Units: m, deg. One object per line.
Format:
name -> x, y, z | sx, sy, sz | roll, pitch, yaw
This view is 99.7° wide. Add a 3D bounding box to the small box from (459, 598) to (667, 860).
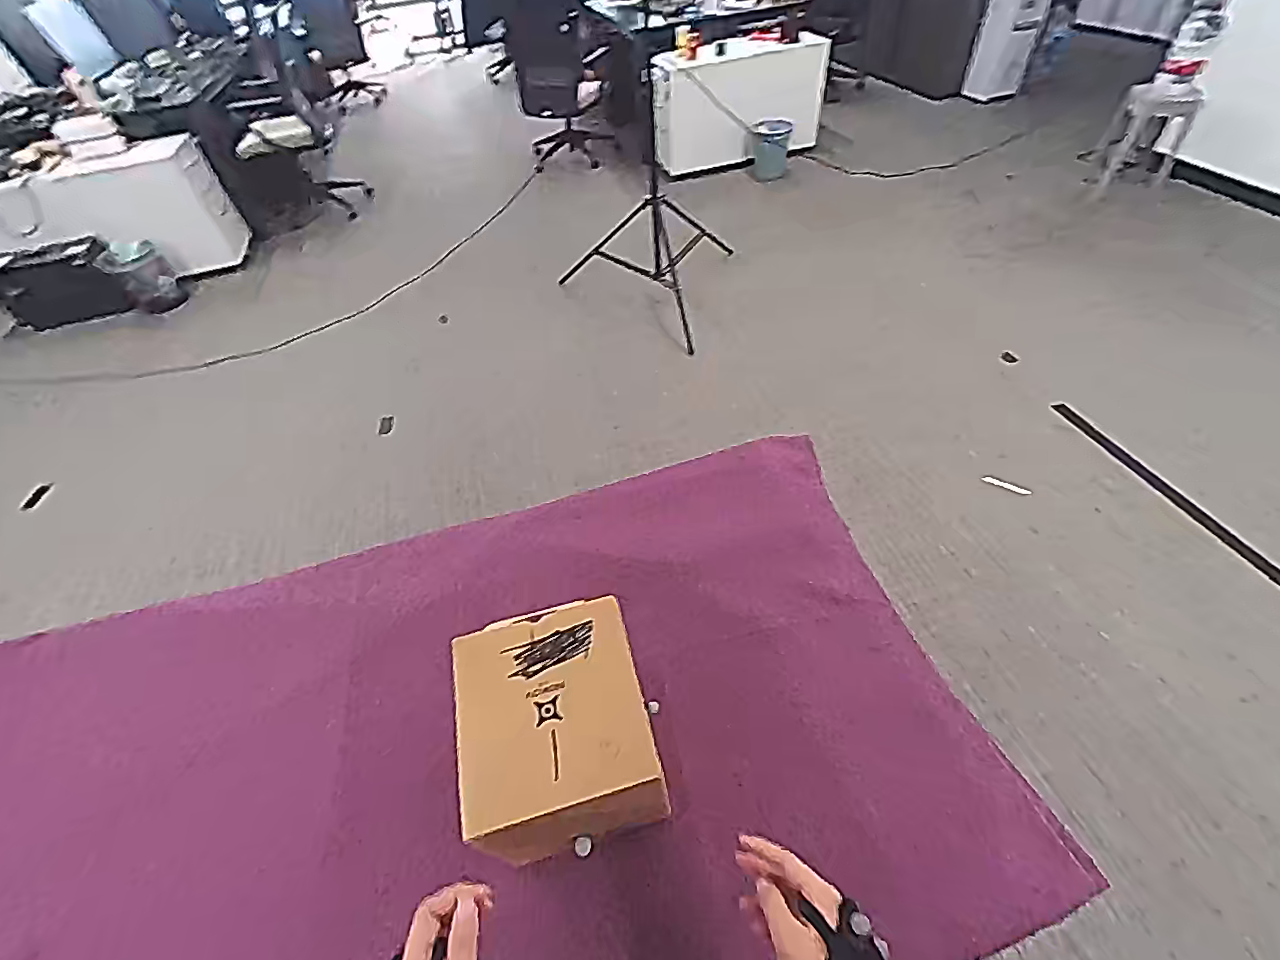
small box -> -0.075, 0.253, 0.549 | 0.168, 0.176, 0.179 | -15, 49, -6
